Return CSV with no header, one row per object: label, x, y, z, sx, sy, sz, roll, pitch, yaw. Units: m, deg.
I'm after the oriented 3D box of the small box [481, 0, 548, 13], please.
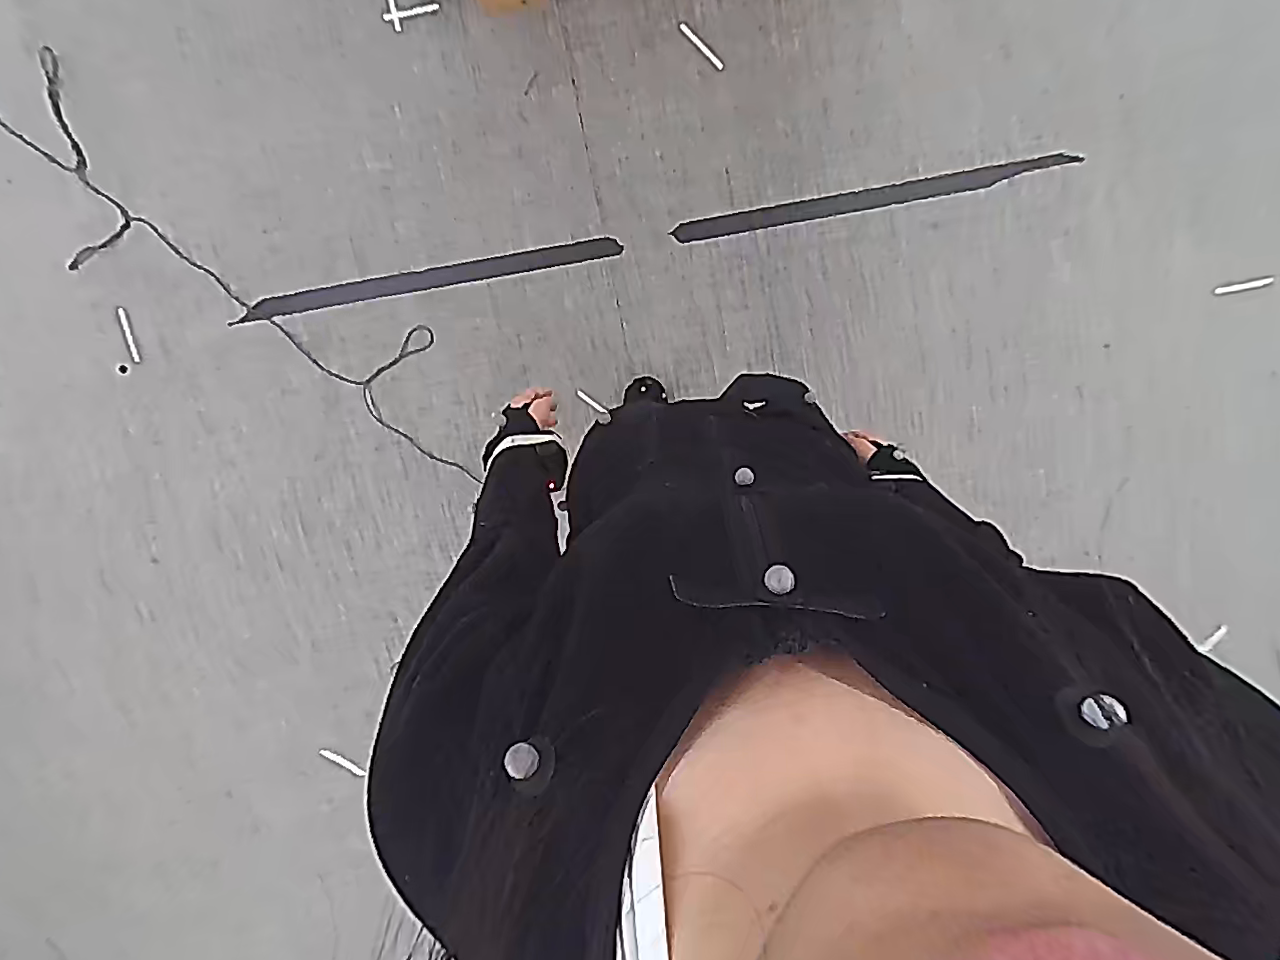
small box,-0.305,-1.196,1.195,0.168,0.176,0.179,-9,98,1
